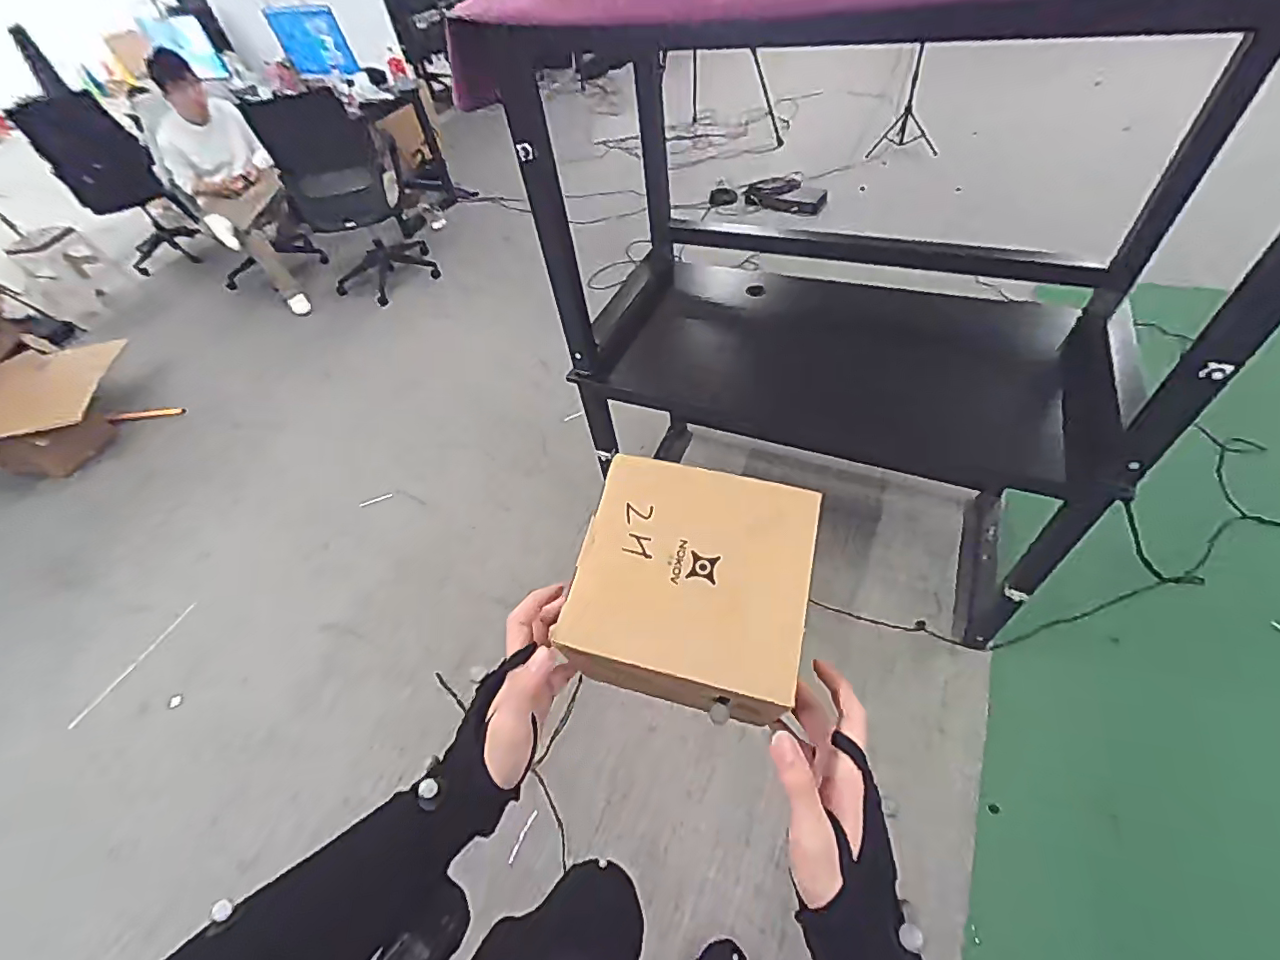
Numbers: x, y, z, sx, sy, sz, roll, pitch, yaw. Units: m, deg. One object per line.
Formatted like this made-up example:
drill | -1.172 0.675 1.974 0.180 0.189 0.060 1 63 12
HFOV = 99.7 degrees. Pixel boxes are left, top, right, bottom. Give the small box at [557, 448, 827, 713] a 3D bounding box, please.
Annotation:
small box | 0.050 0.097 0.478 0.179 0.176 0.168 11 63 12
